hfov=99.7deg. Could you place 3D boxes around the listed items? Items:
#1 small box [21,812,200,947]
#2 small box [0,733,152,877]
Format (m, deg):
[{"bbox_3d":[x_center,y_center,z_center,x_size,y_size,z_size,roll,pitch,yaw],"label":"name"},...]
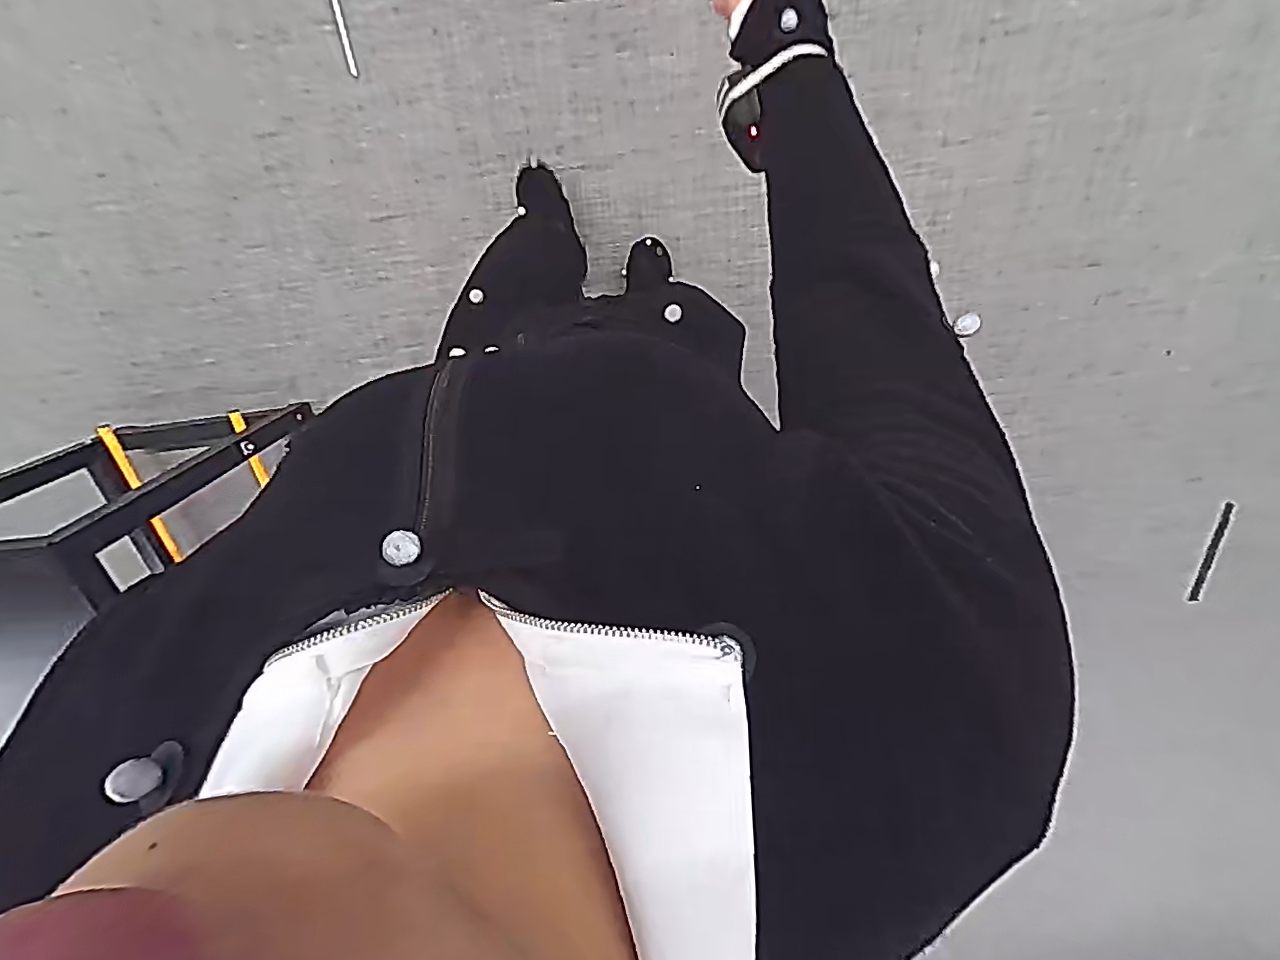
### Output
[{"bbox_3d":[-1.053,0.807,1.102,0.179,0.176,0.168,-5,115,3],"label":"small box"},{"bbox_3d":[-1.081,0.594,0.998,0.179,0.176,0.168,-6,118,3],"label":"small box"}]
